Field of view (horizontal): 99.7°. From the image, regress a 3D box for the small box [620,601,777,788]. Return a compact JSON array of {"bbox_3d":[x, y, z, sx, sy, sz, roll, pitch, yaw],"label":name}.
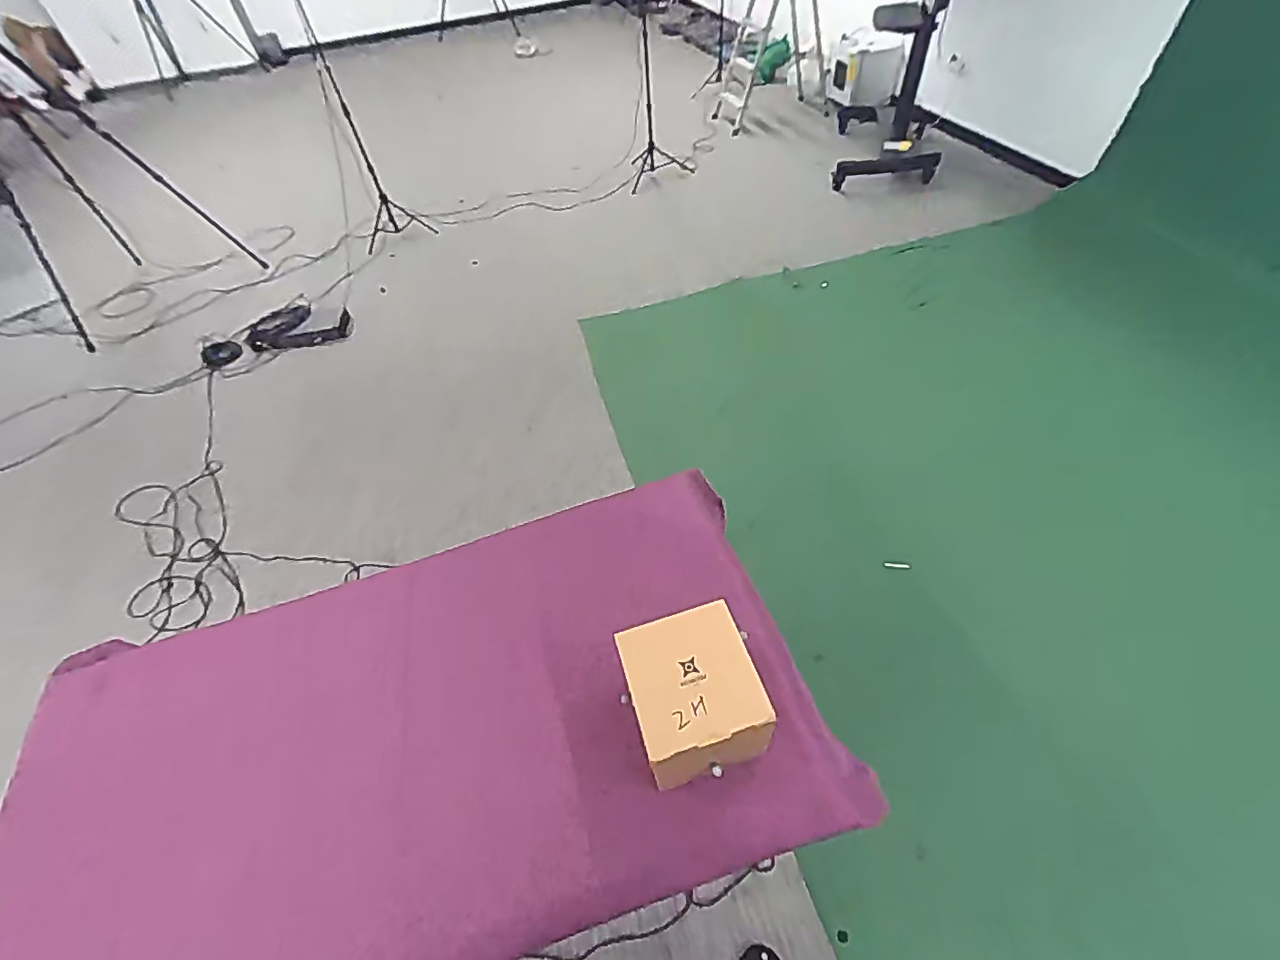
[{"bbox_3d":[0.077,0.307,0.770,0.168,0.176,0.179,-16,50,-6],"label":"small box"}]
